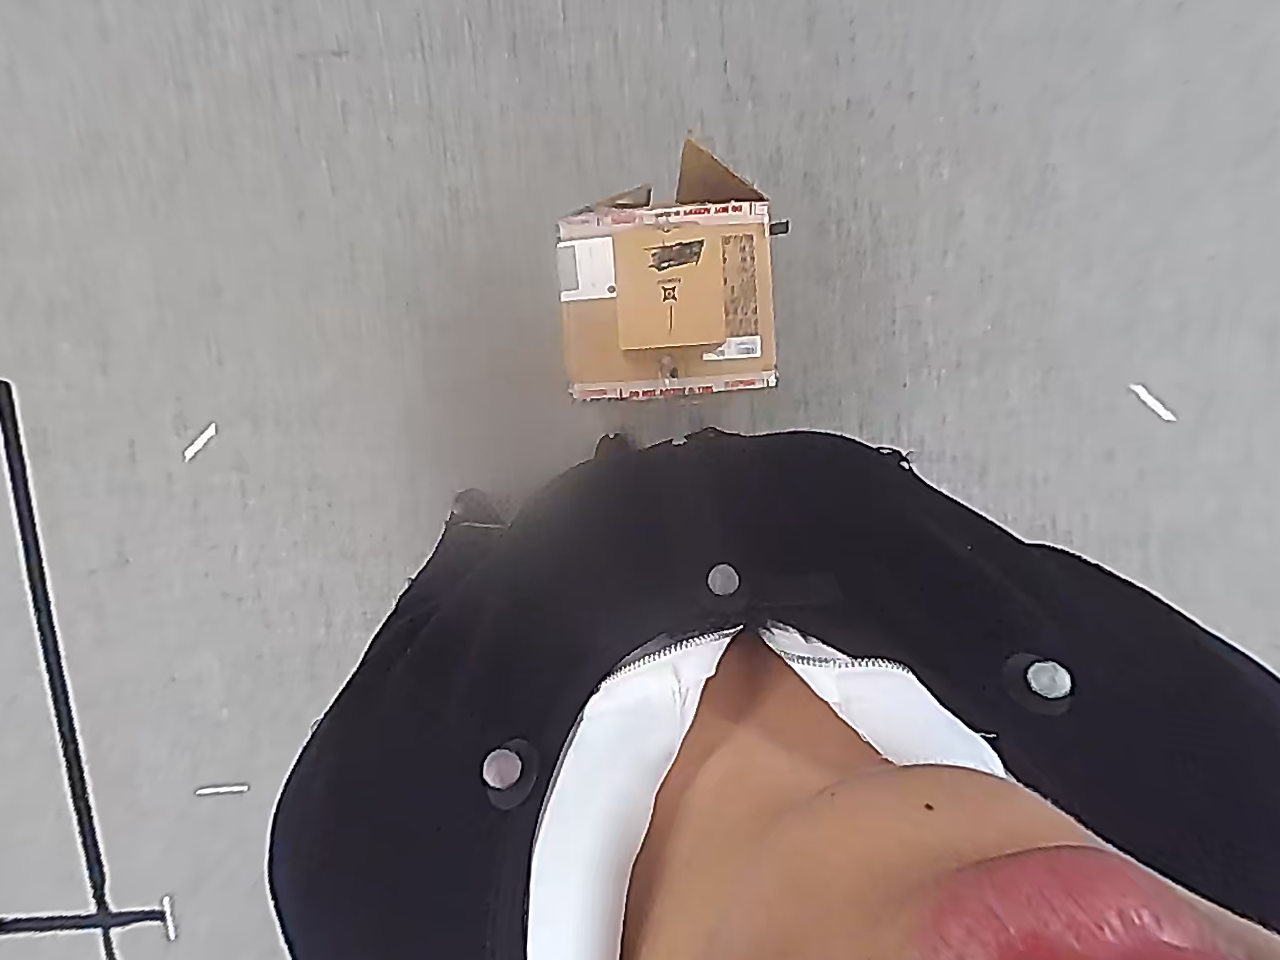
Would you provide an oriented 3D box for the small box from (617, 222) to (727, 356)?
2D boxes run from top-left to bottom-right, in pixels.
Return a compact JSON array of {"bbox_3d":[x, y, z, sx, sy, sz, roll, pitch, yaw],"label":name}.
[{"bbox_3d":[0.048,-0.306,0.896,0.168,0.176,0.179,-3,99,1],"label":"small box"}]
